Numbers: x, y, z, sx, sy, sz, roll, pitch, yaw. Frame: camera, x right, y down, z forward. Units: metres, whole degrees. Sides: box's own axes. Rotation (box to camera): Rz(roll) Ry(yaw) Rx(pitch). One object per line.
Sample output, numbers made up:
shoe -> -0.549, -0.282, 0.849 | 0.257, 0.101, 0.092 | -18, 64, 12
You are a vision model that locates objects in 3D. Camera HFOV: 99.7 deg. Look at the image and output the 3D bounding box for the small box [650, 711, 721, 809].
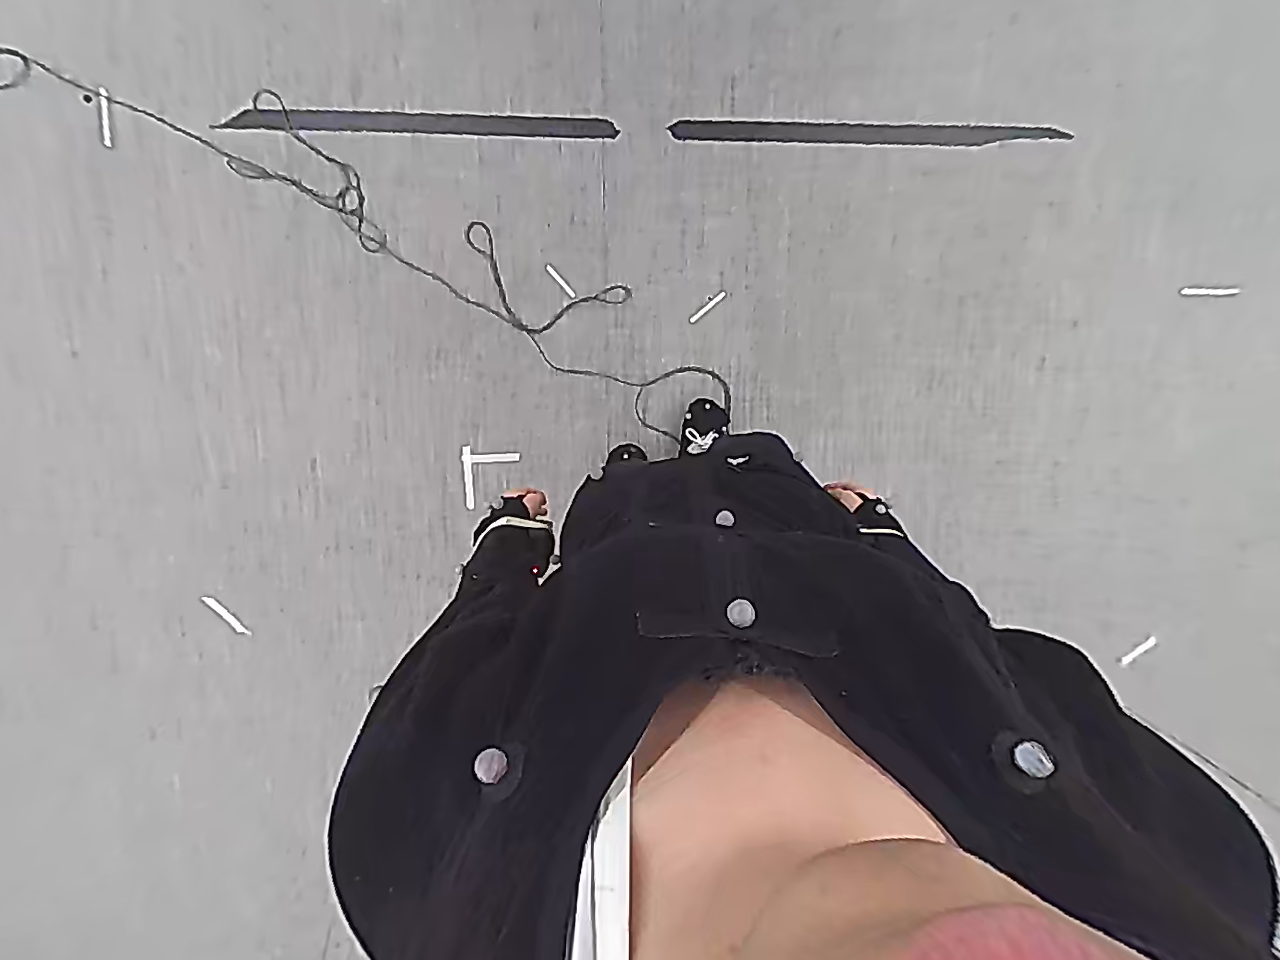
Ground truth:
small box -> 0.119, 0.753, 1.476 | 0.168, 0.176, 0.179 | -7, 96, 0
